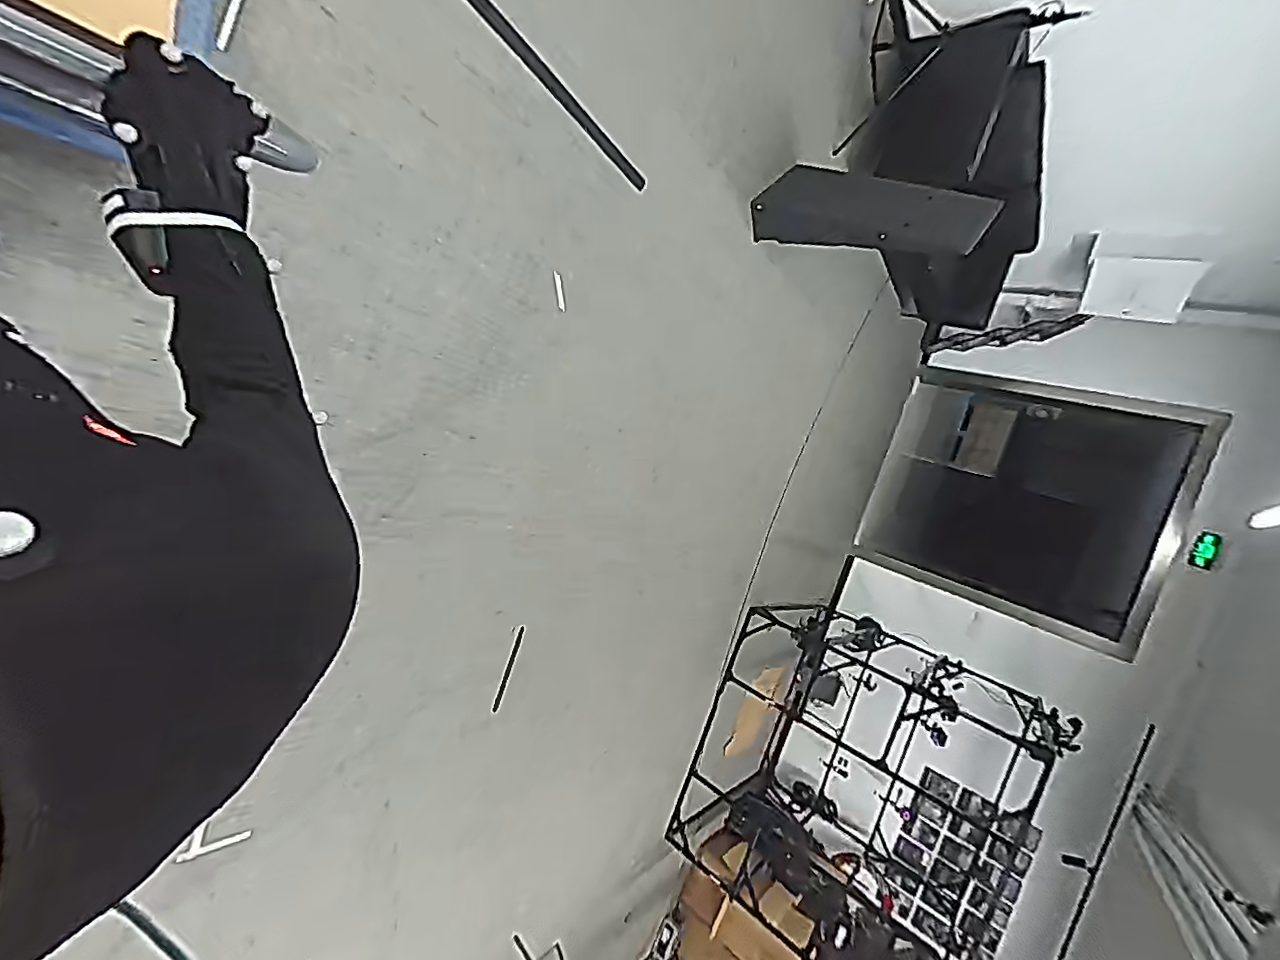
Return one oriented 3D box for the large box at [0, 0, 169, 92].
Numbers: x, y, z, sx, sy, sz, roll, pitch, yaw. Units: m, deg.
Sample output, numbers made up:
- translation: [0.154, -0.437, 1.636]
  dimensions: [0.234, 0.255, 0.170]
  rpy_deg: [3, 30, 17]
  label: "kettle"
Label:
- translation: [-0.808, -0.713, 0.589]
  dimensions: [0.408, 0.320, 0.320]
  rpy_deg: [1, 107, -55]
  label: "large box"
